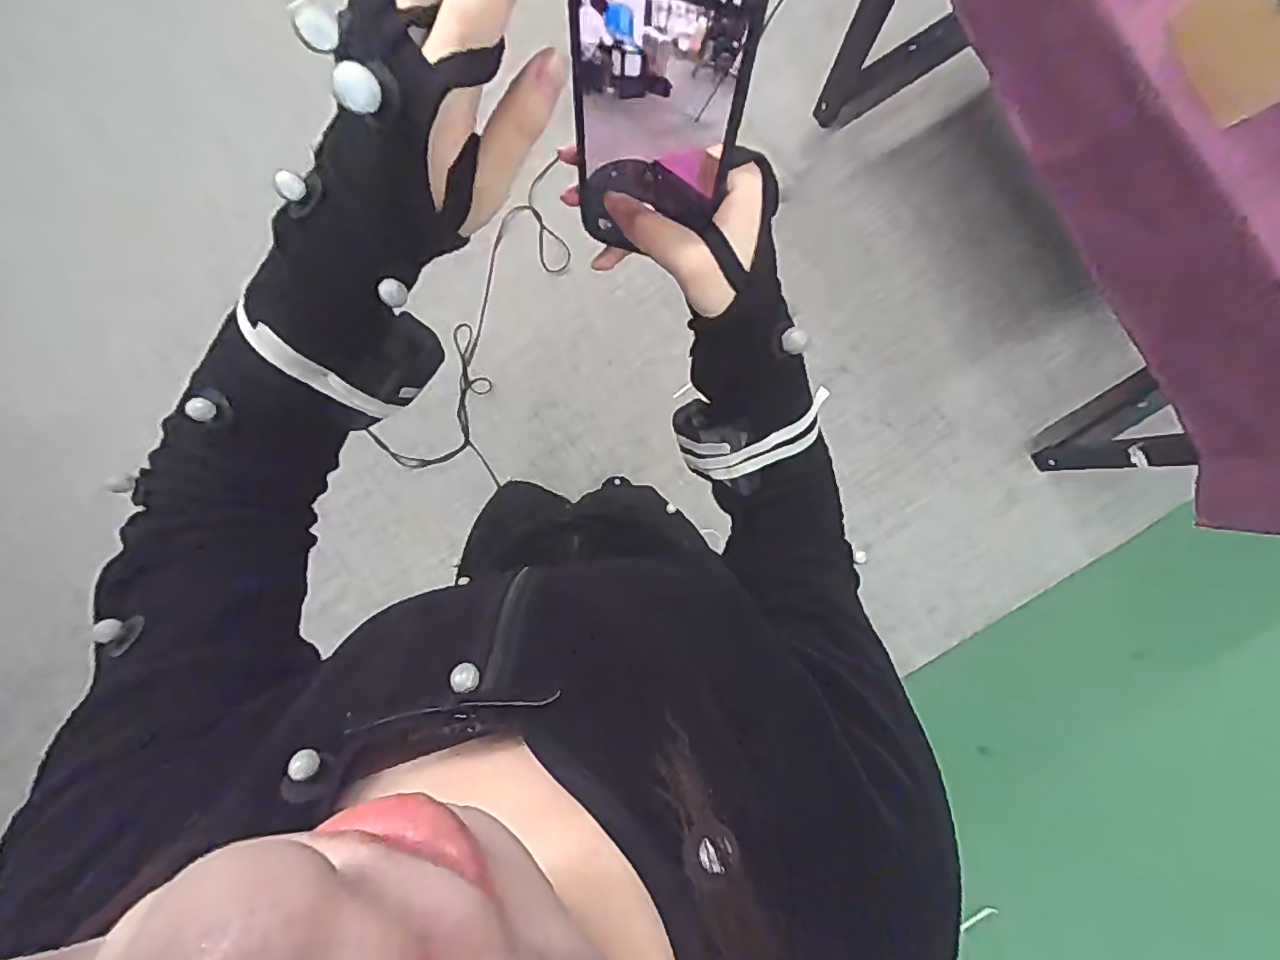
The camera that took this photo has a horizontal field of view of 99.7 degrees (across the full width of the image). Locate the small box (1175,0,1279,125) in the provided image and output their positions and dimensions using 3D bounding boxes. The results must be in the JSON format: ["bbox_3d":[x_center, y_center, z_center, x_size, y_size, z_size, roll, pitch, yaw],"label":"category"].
[{"bbox_3d":[0.852,-0.606,0.683,0.168,0.176,0.179,-26,90,1],"label":"small box"}]
